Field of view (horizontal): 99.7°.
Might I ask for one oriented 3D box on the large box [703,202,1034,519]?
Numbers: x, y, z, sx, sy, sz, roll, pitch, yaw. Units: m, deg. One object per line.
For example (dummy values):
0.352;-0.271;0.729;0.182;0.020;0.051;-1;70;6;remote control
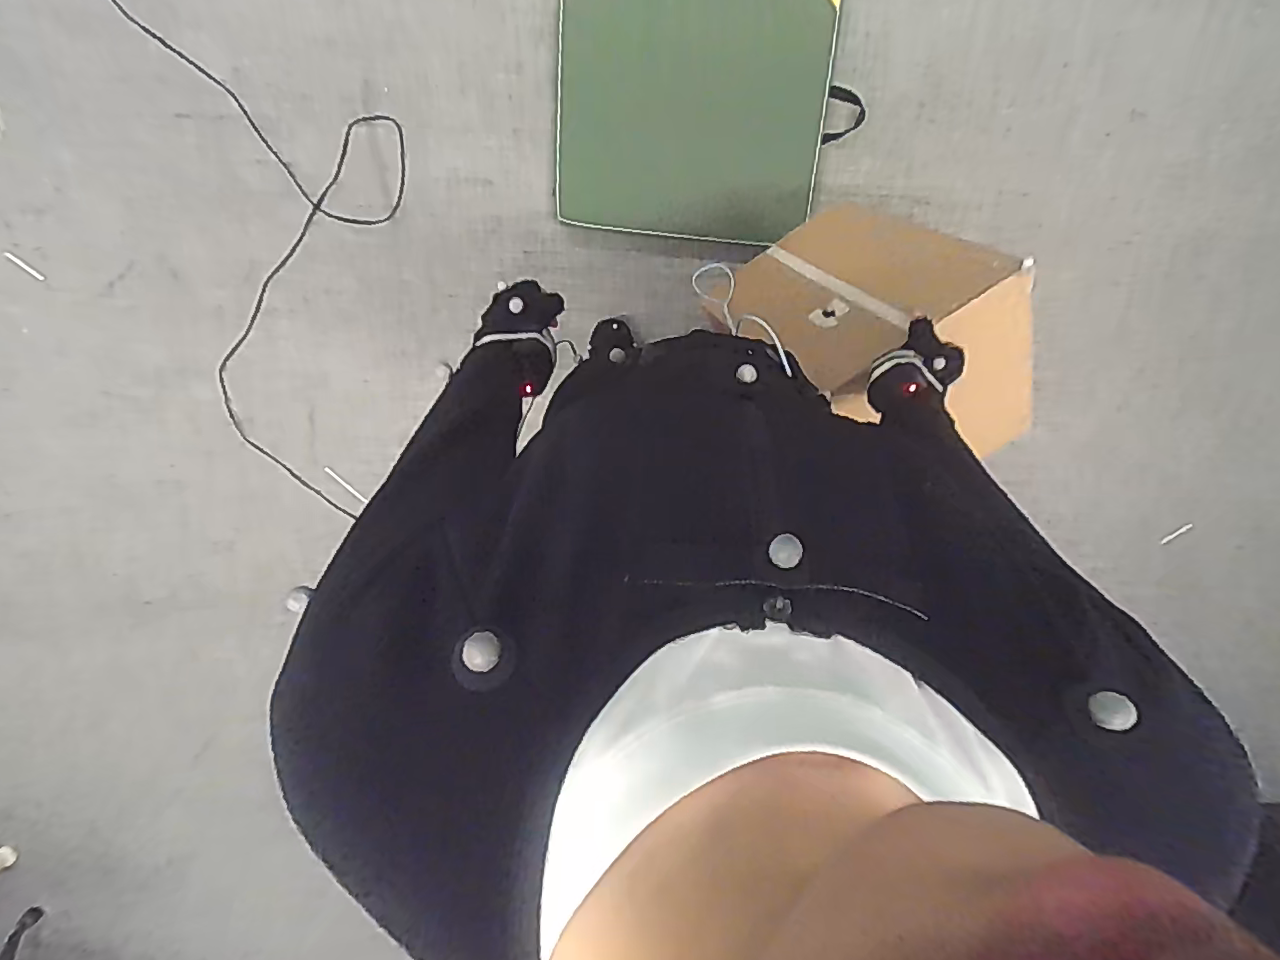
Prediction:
0.371;-0.214;0.925;0.320;0.408;0.320;-35;130;6;large box
